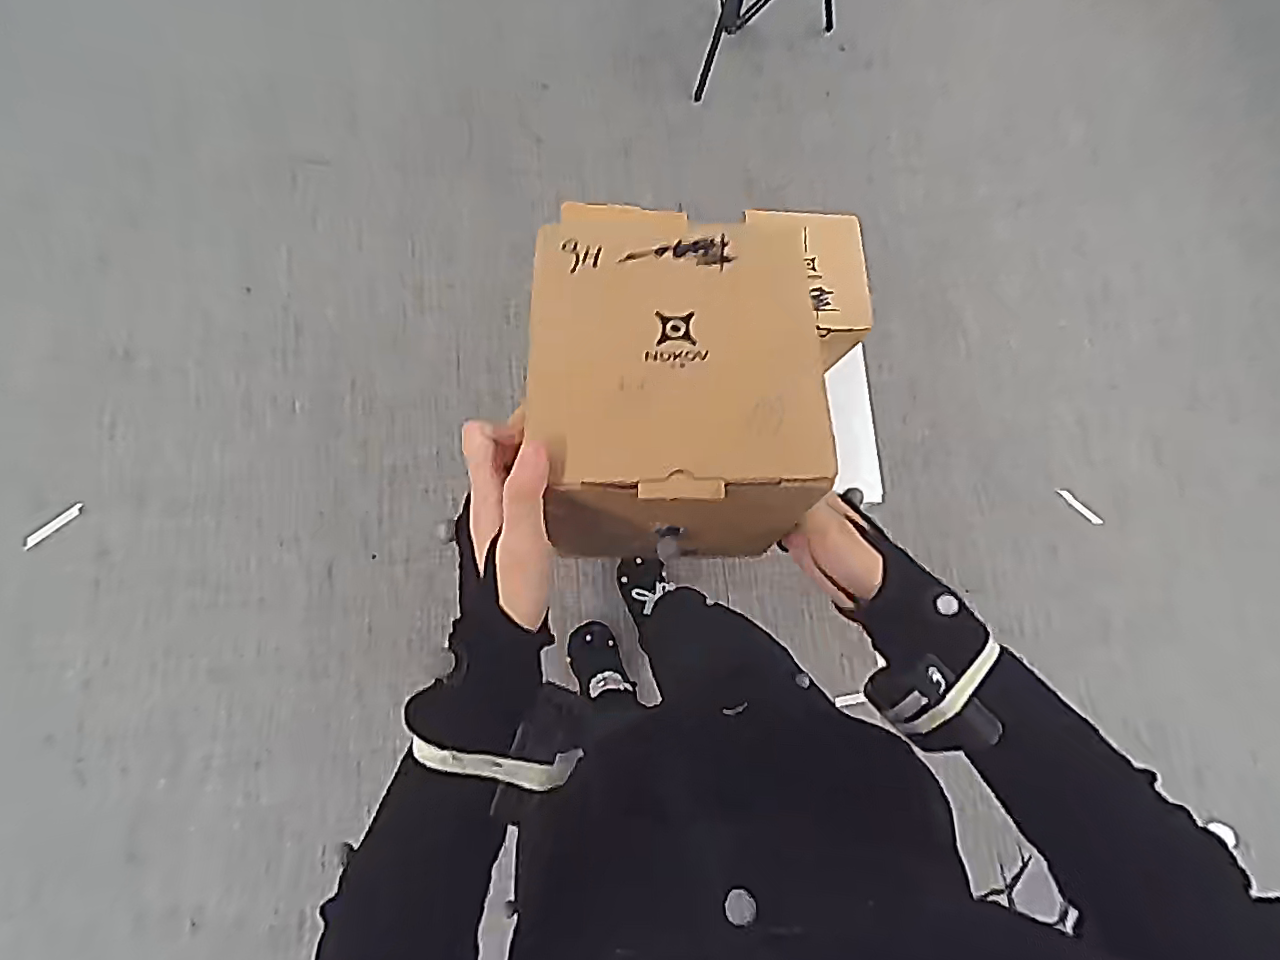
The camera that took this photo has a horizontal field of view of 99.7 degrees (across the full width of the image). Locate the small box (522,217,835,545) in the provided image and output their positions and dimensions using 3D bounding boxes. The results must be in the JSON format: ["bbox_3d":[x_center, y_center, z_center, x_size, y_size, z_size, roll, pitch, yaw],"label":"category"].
[{"bbox_3d":[0.020,-0.053,0.380,0.168,0.176,0.179,0,70,-2],"label":"small box"}]
